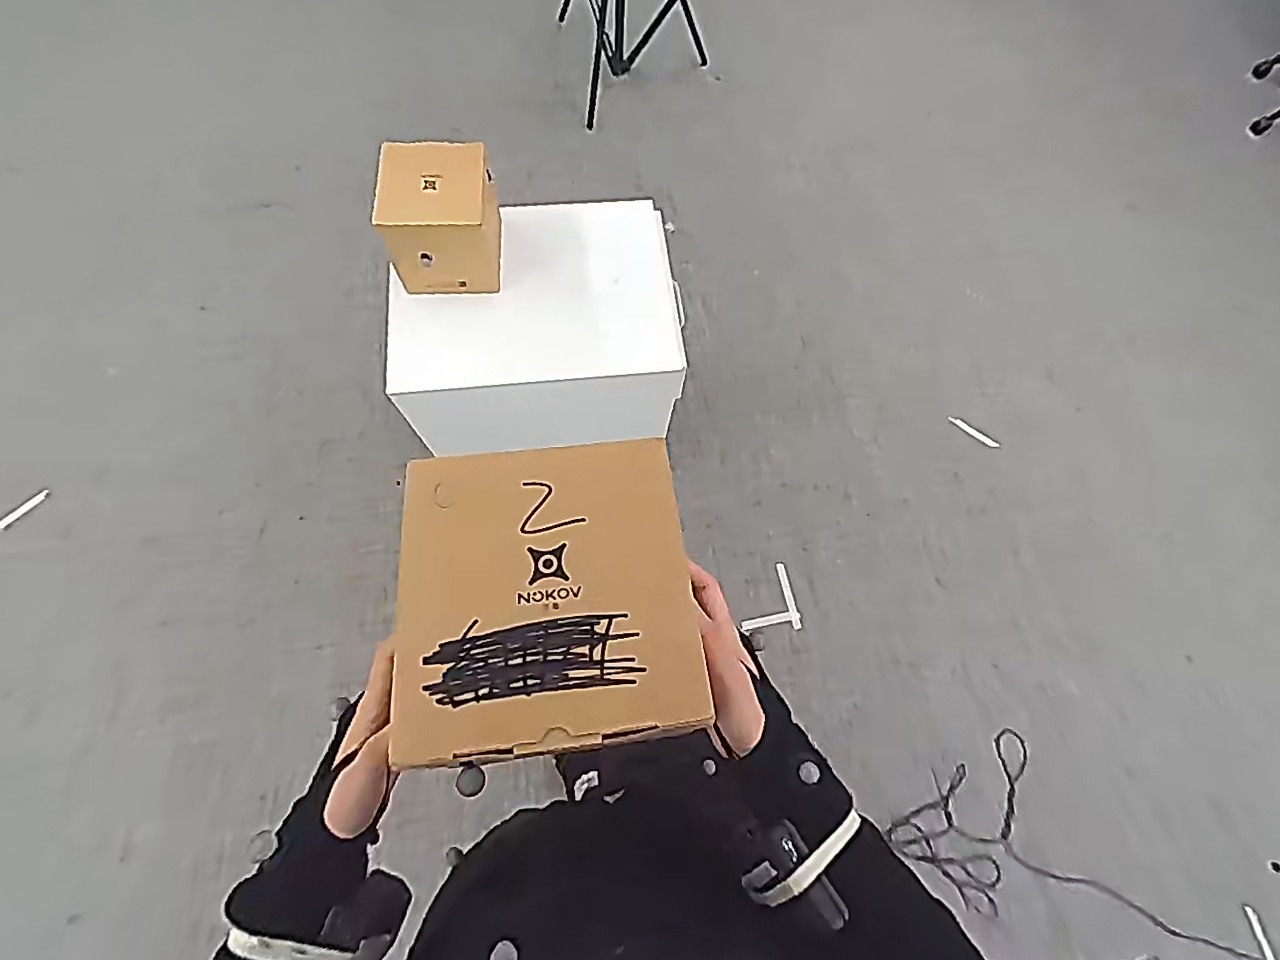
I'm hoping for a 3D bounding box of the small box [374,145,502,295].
[{"bbox_3d":[-0.336,-0.438,0.930,0.168,0.176,0.179,-3,70,-5],"label":"small box"}]
